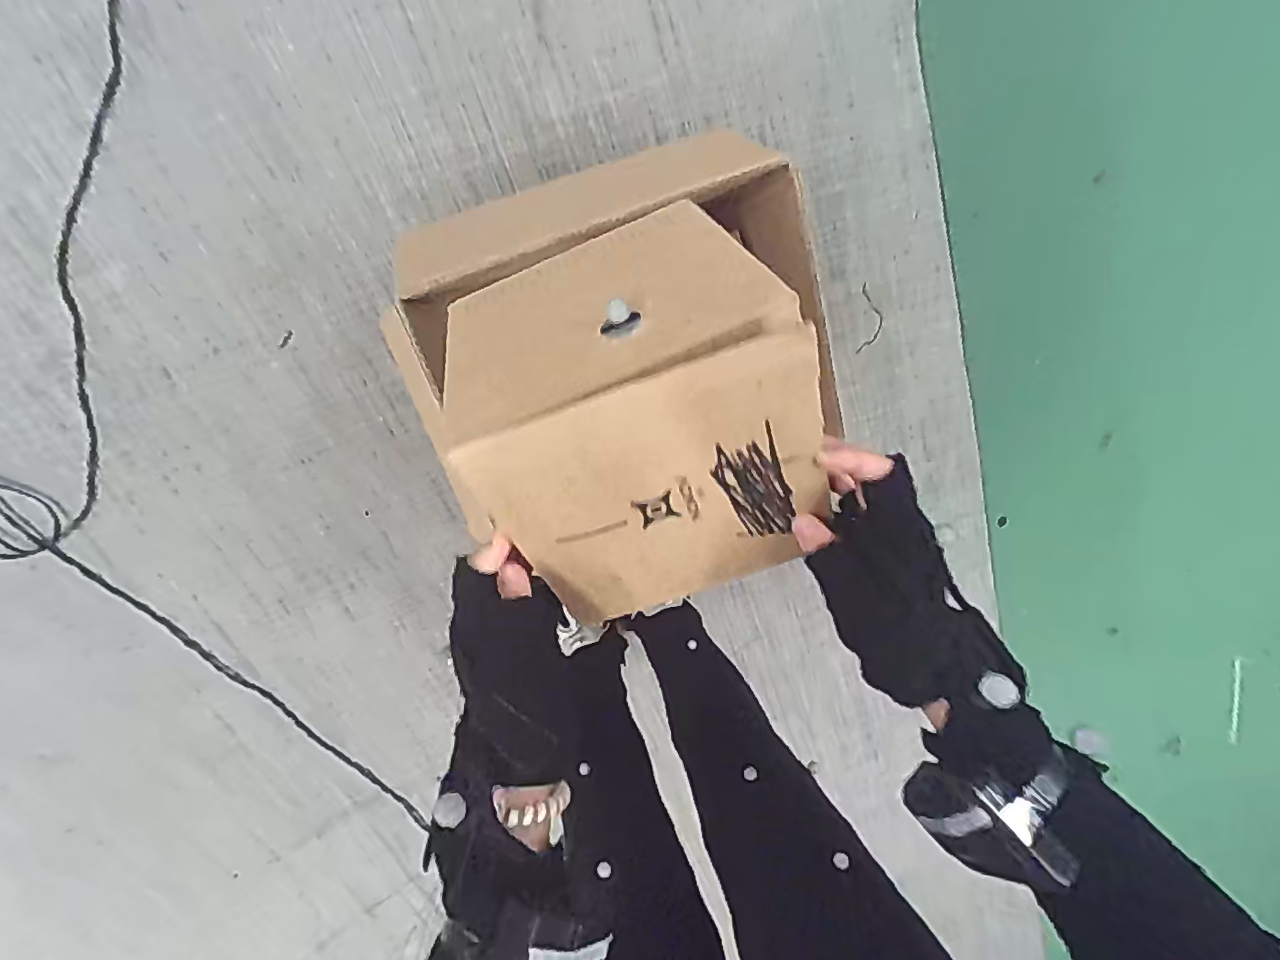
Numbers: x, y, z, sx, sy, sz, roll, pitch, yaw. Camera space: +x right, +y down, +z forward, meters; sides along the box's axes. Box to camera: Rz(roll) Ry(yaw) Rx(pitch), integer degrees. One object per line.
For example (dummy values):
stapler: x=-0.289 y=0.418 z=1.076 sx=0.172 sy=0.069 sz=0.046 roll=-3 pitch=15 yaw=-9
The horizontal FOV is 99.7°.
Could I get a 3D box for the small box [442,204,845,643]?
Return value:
small box: x=0.001 y=-0.036 z=0.331 sx=0.179 sy=0.176 sz=0.168 roll=-22 pitch=135 yaw=5
